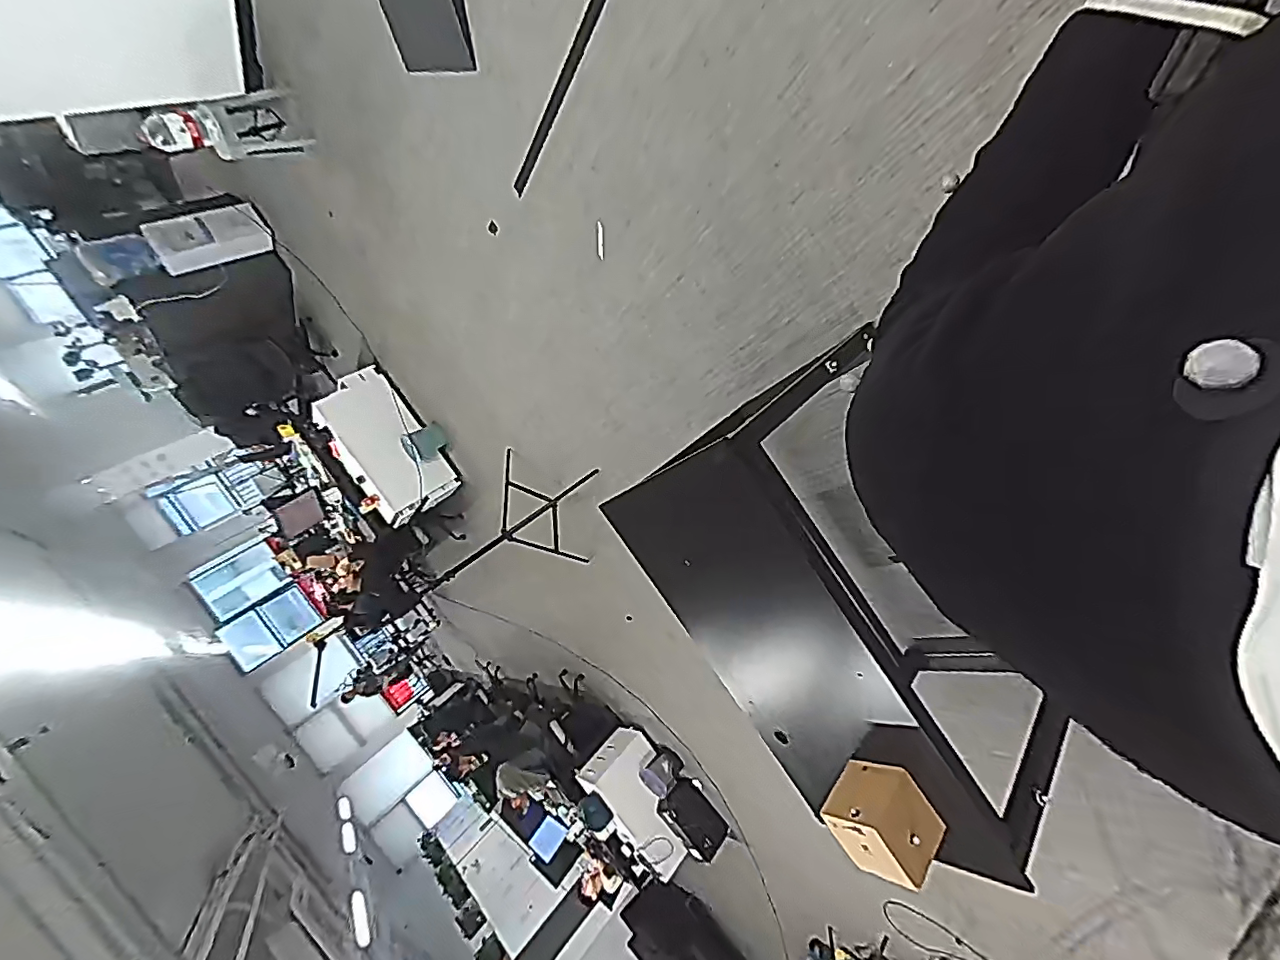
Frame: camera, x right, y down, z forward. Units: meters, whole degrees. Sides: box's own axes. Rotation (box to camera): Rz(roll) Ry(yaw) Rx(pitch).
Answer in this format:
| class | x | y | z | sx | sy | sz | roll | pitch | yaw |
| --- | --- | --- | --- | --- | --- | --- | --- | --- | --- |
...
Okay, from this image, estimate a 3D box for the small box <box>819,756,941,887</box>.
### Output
| class | x | y | z | sx | sy | sz | roll | pitch | yaw |
| --- | --- | --- | --- | --- | --- | --- | --- | --- | --- |
| small box | 0.571 | 0.797 | 1.281 | 0.179 | 0.176 | 0.168 | 54 | 147 | -2 |
